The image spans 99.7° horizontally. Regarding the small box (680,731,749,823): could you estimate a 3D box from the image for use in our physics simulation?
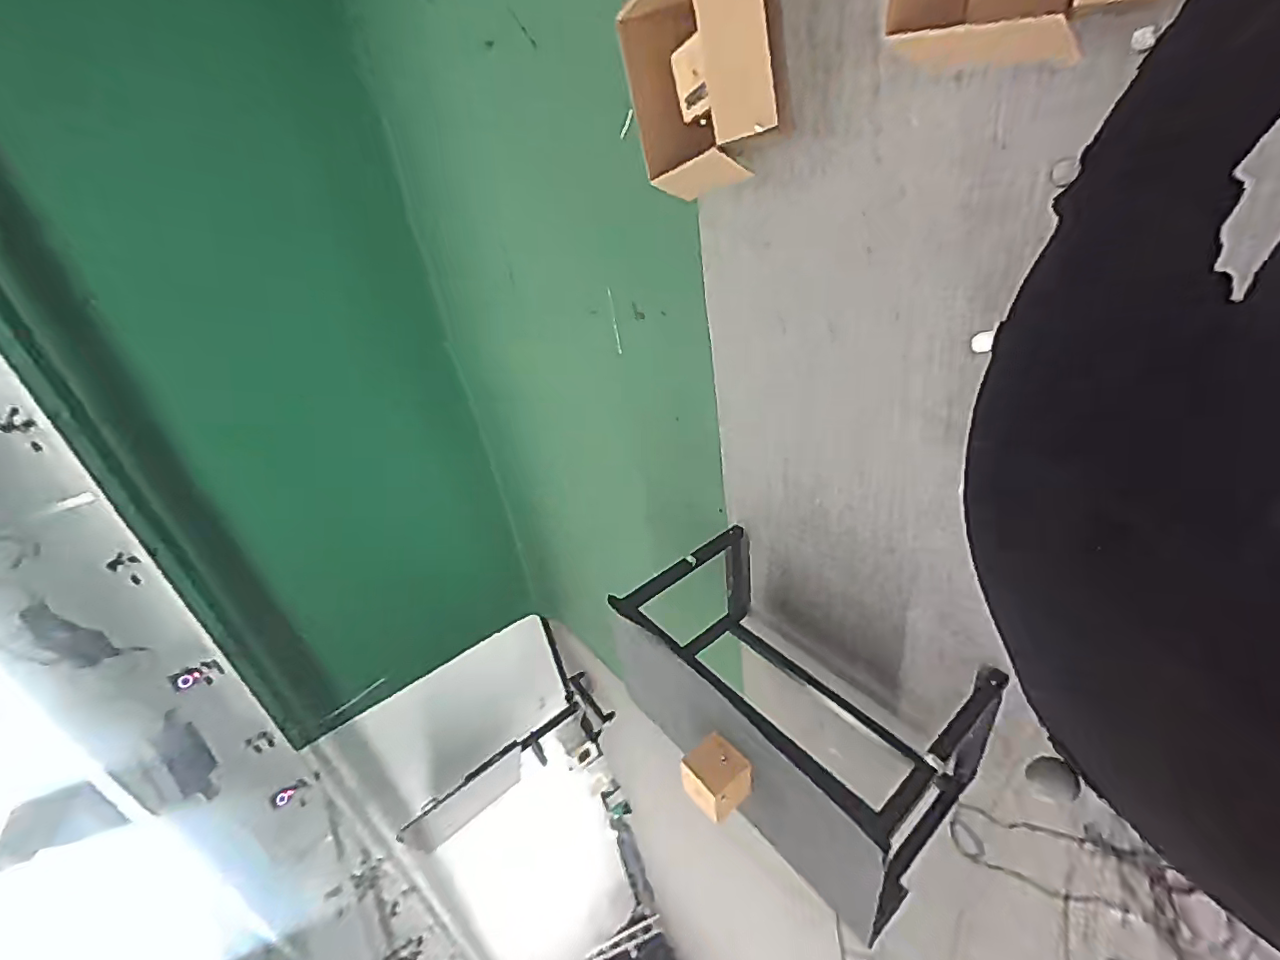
[{"bbox_3d":[0.254,0.994,1.821,0.168,0.176,0.179,30,137,45],"label":"small box"}]
